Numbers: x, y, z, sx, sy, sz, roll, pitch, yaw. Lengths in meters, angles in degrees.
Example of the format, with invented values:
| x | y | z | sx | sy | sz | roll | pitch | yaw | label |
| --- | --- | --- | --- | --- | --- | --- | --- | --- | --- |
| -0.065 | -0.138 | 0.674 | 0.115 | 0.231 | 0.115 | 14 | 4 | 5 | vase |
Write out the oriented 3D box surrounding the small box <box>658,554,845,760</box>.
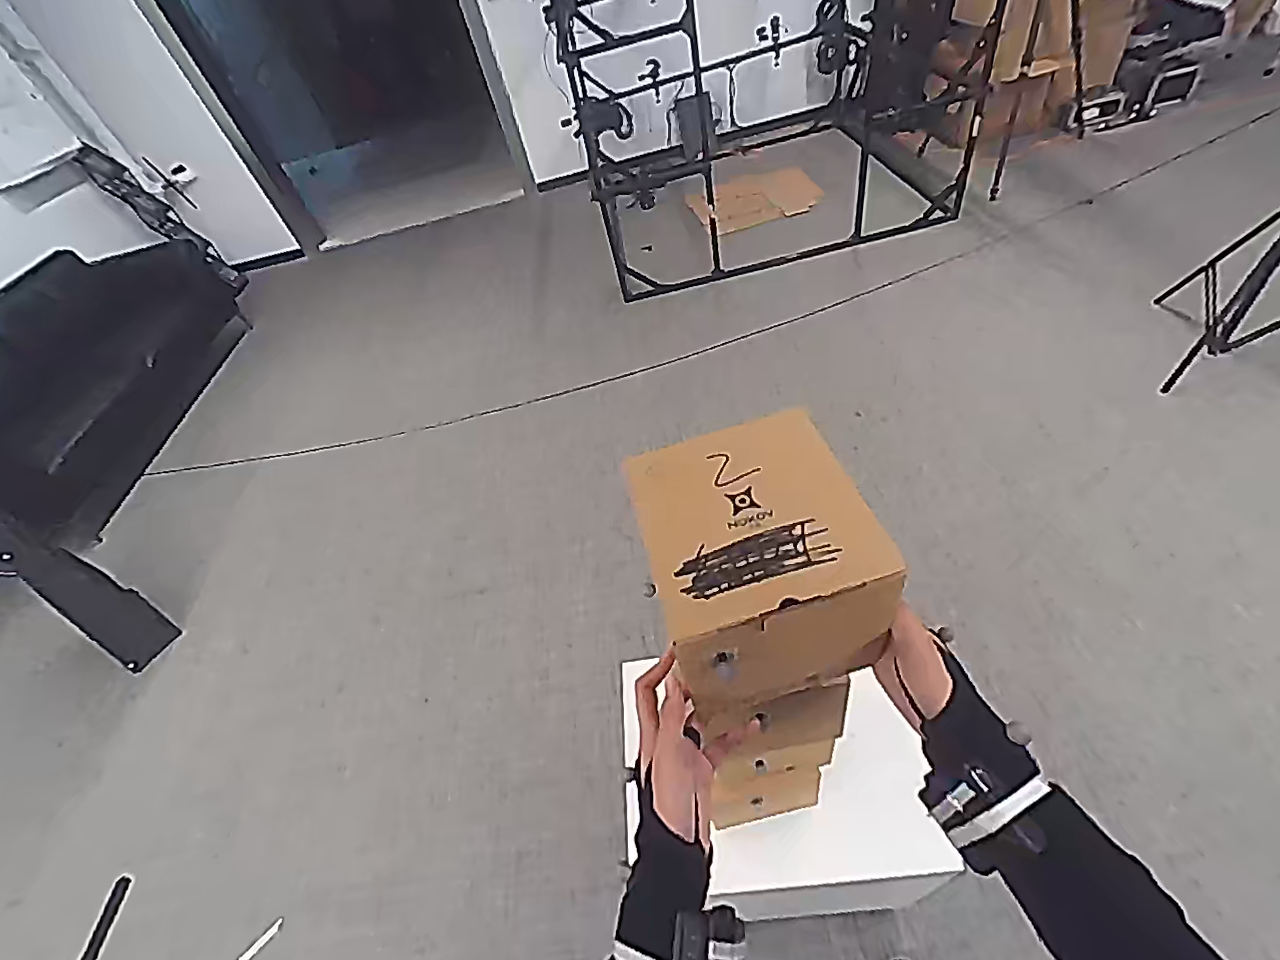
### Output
| x | y | z | sx | sy | sz | roll | pitch | yaw | label |
| --- | --- | --- | --- | --- | --- | --- | --- | --- | --- |
| 0.132 | 0.219 | 0.657 | 0.179 | 0.176 | 0.168 | -13 | 46 | 4 | small box |

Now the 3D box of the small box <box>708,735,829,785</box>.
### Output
| x | y | z | sx | sy | sz | roll | pitch | yaw | label |
| --- | --- | --- | --- | --- | --- | --- | --- | --- | --- |
| 0.167 | 0.320 | 0.783 | 0.168 | 0.176 | 0.179 | -15 | 45 | 2 | small box |

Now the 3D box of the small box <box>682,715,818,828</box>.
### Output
| x | y | z | sx | sy | sz | roll | pitch | yaw | label |
| --- | --- | --- | --- | --- | --- | --- | --- | --- | --- |
| 0.177 | 0.446 | 0.889 | 0.179 | 0.176 | 0.168 | -15 | 46 | 1 | small box |
